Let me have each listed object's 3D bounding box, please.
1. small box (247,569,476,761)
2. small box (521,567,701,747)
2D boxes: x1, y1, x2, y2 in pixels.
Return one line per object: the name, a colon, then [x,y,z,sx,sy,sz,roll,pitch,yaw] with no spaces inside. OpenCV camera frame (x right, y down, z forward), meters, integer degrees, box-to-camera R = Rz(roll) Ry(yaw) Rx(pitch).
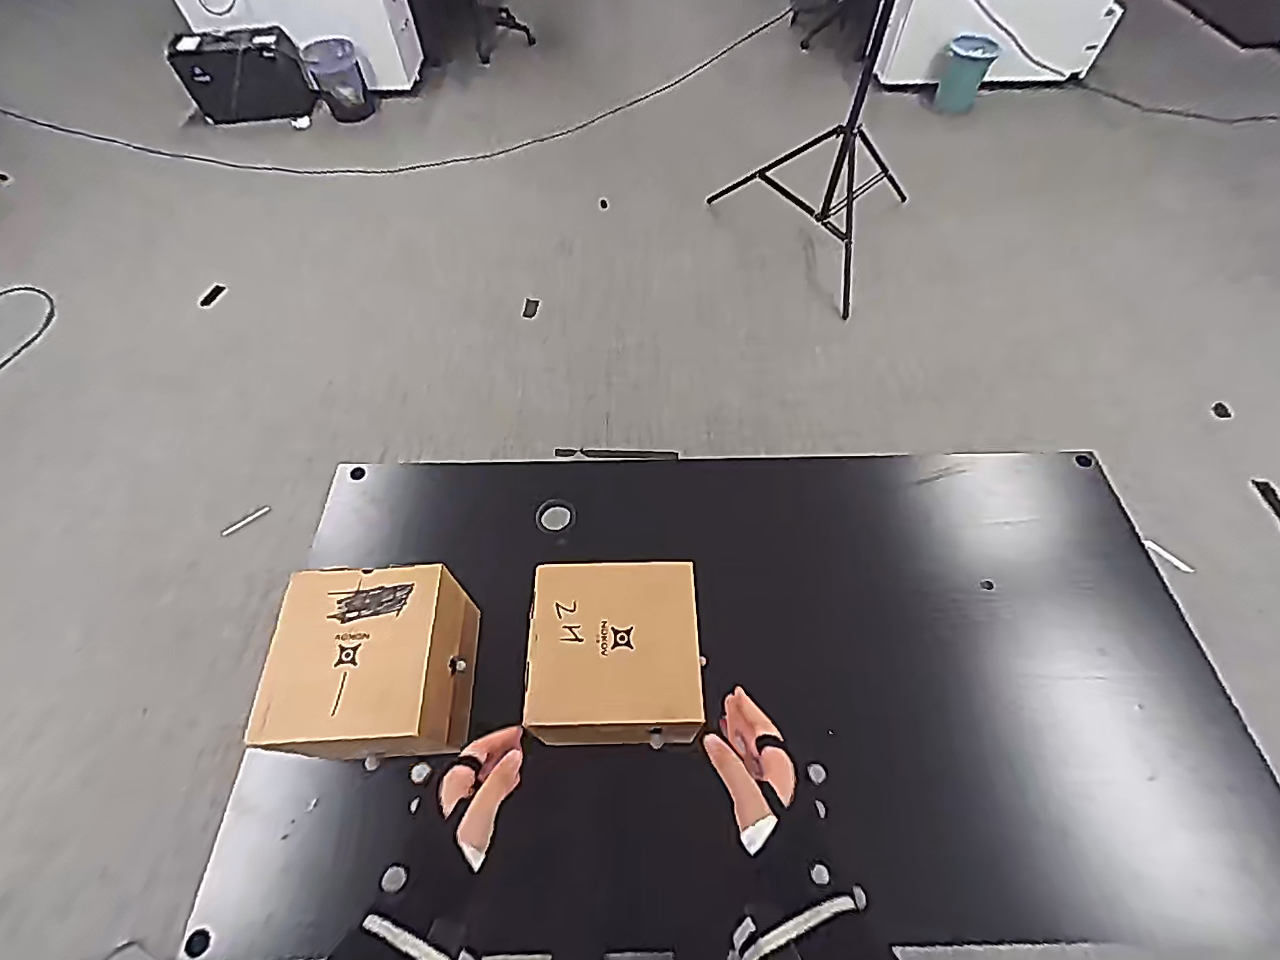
small box: [-0.296,0.218,0.625,0.168,0.176,0.179,-3,59,-1]
small box: [-0.029,0.209,0.628,0.179,0.176,0.168,-1,58,0]
